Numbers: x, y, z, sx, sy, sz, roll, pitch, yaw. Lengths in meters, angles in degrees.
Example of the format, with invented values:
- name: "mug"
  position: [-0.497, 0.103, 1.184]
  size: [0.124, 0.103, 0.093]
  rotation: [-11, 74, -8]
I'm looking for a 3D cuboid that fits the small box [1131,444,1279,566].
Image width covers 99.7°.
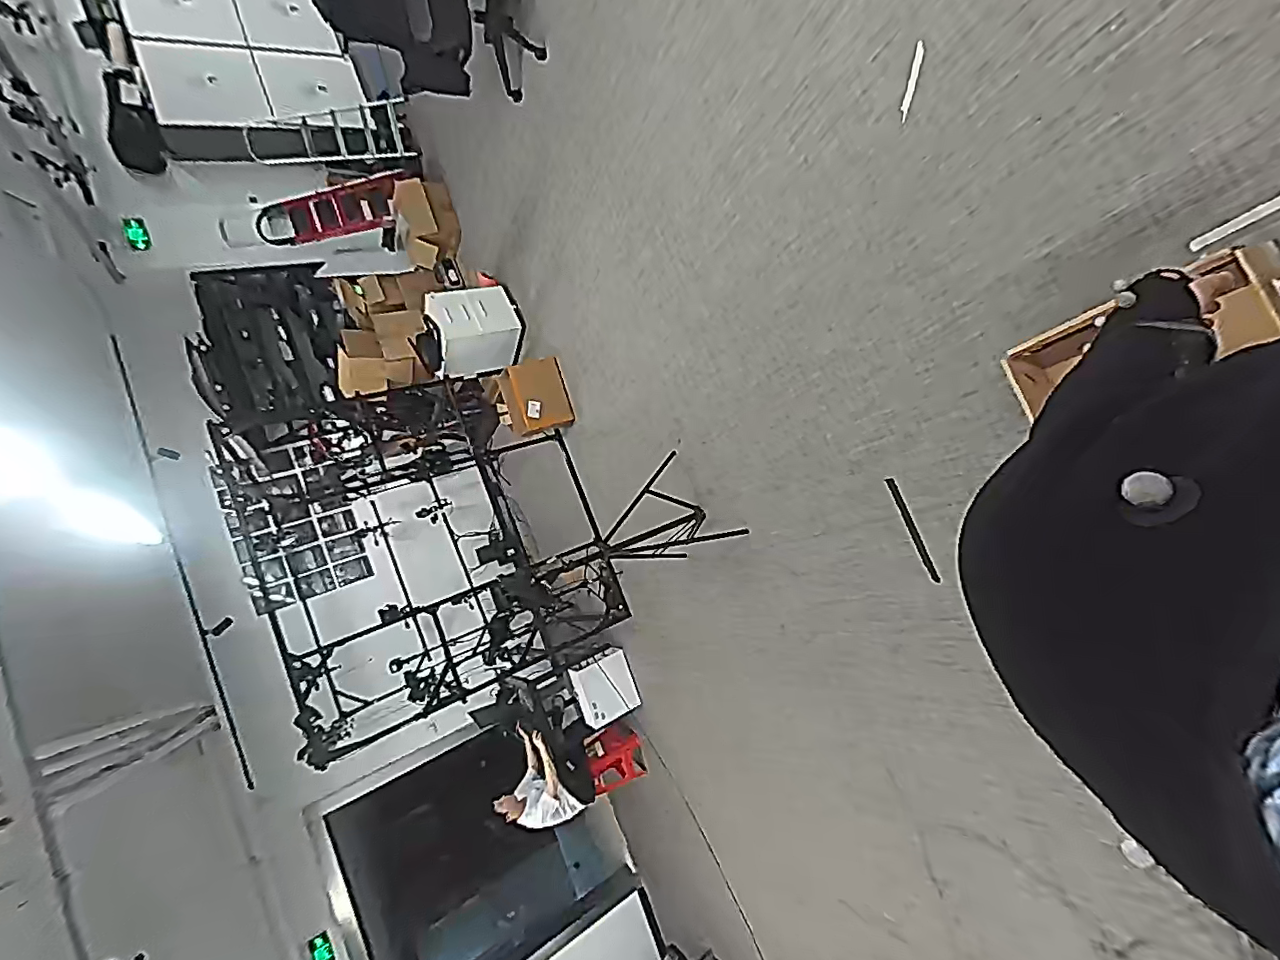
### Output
- name: "small box"
  position: [1.104, 0.046, 1.026]
  size: [0.179, 0.176, 0.168]
  rotation: [-36, 73, 60]
